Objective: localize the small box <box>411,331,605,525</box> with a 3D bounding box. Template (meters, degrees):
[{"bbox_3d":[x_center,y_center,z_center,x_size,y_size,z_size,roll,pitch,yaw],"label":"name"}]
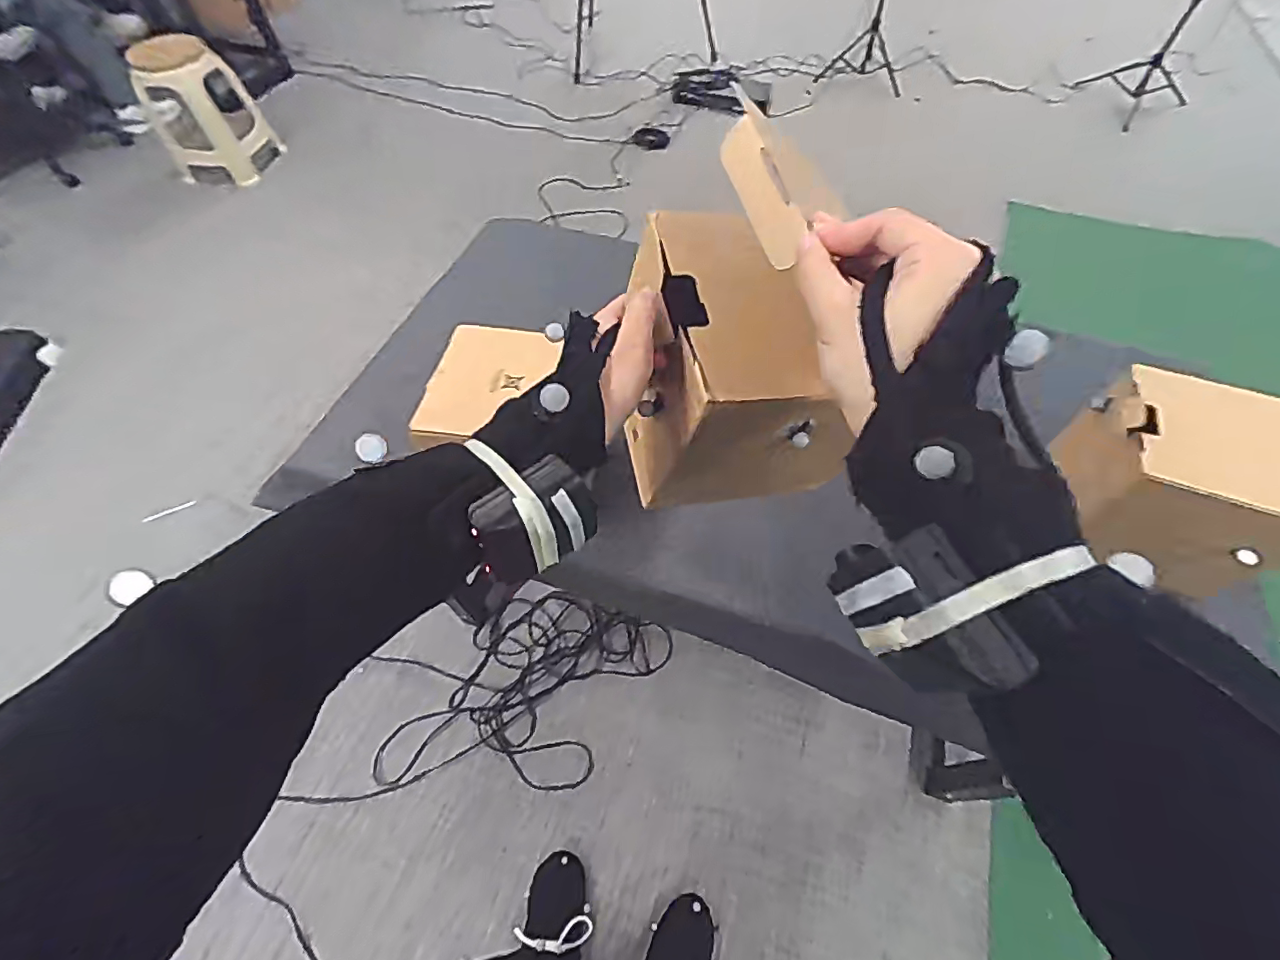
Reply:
[{"bbox_3d":[-0.143,-0.058,0.669,0.179,0.176,0.168,7,57,5],"label":"small box"}]
